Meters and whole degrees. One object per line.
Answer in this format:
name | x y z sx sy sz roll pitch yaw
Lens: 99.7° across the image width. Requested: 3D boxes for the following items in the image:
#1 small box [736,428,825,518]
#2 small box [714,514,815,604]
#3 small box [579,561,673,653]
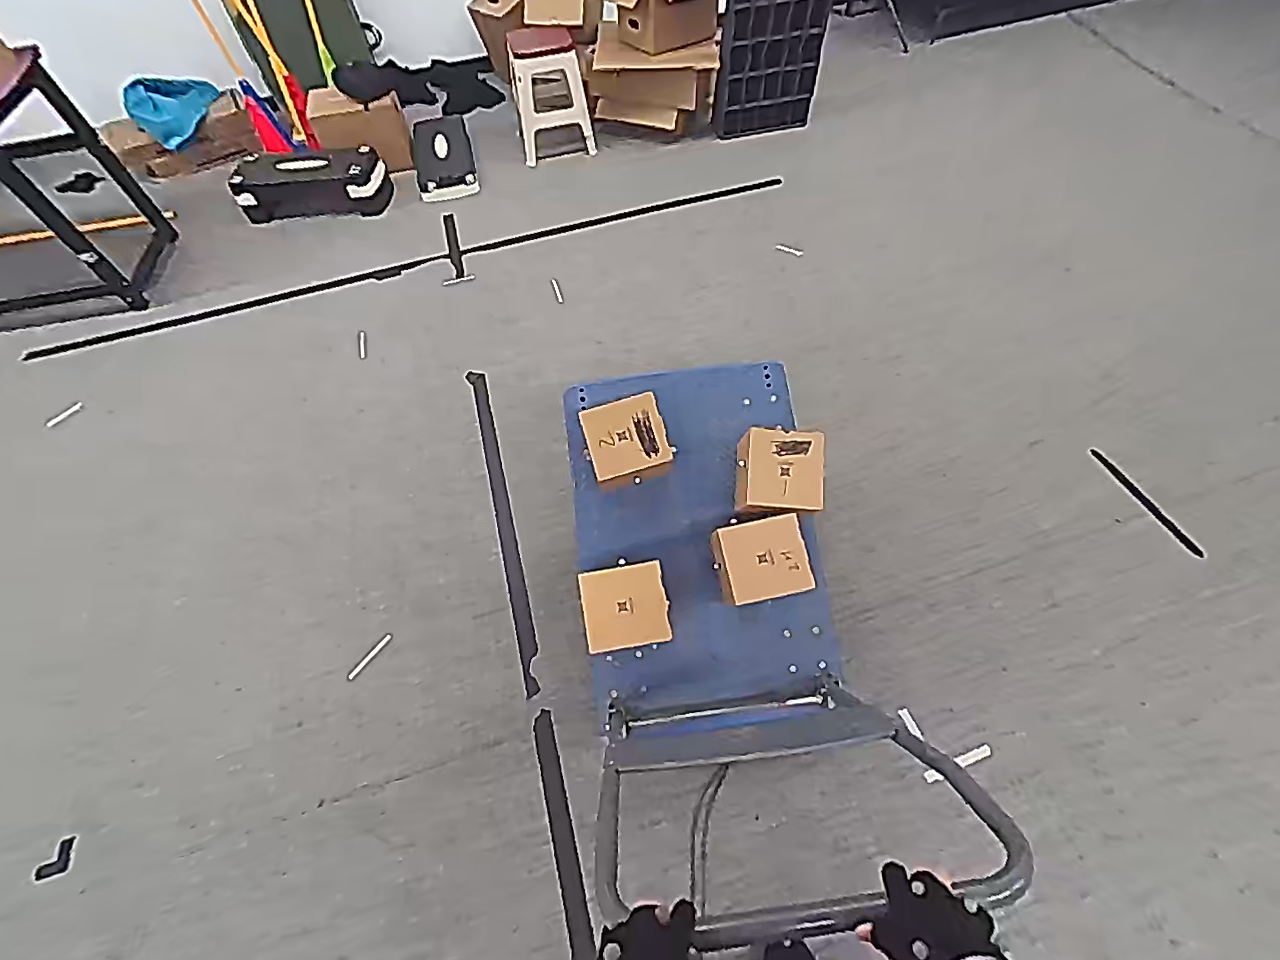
small box | 0.318 -0.010 1.252 0.168 0.176 0.179 4 80 2
small box | 0.268 0.181 1.216 0.179 0.176 0.168 -12 80 -1
small box | -0.029 0.281 1.202 0.179 0.176 0.168 -10 79 -3
